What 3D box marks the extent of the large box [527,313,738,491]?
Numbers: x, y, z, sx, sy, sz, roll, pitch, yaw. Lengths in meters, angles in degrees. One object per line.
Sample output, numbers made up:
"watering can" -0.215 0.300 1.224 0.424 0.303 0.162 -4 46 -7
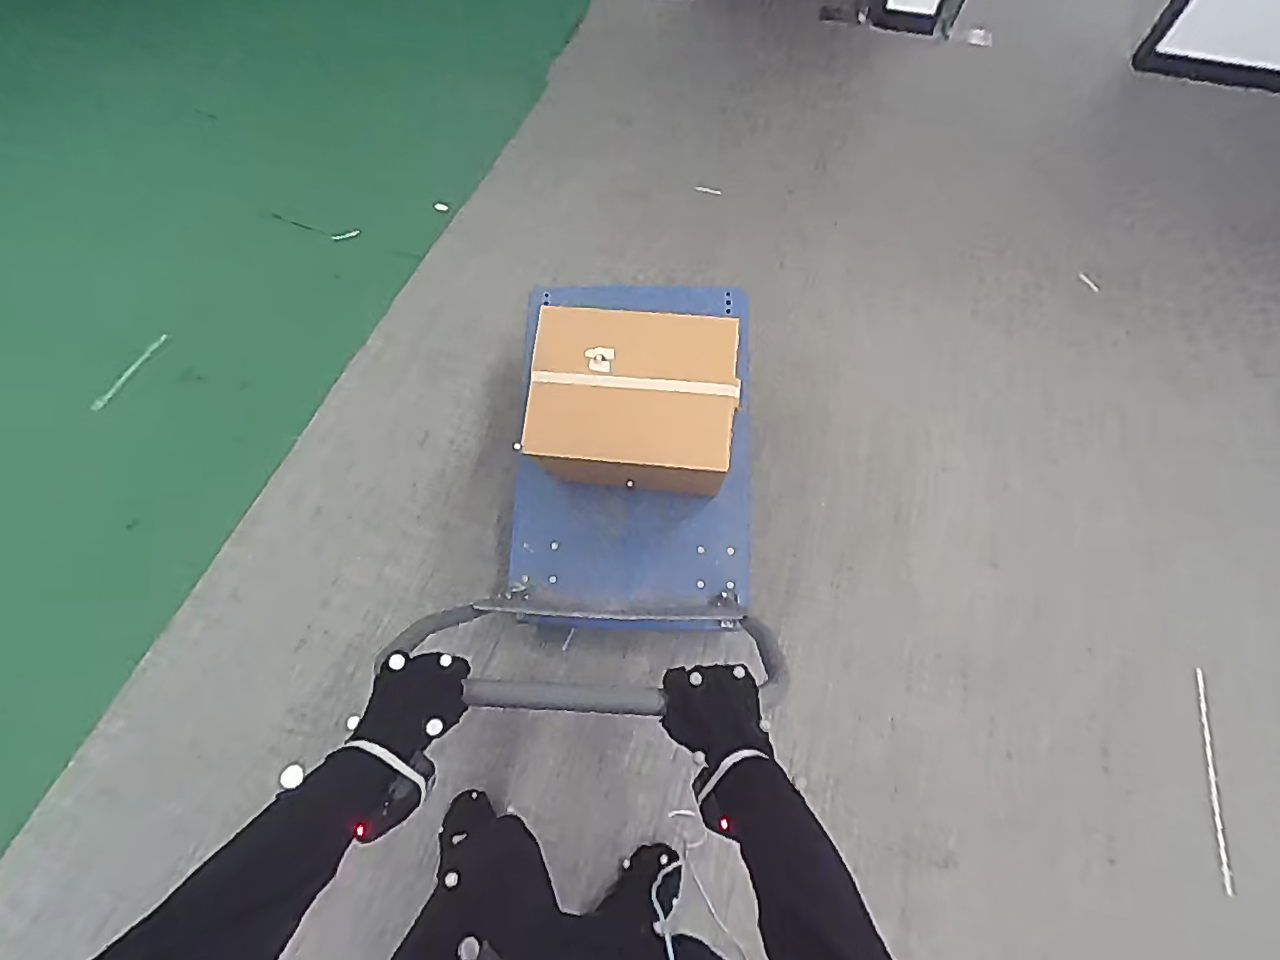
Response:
"large box" 0.002 -0.155 1.200 0.408 0.320 0.320 4 80 6
